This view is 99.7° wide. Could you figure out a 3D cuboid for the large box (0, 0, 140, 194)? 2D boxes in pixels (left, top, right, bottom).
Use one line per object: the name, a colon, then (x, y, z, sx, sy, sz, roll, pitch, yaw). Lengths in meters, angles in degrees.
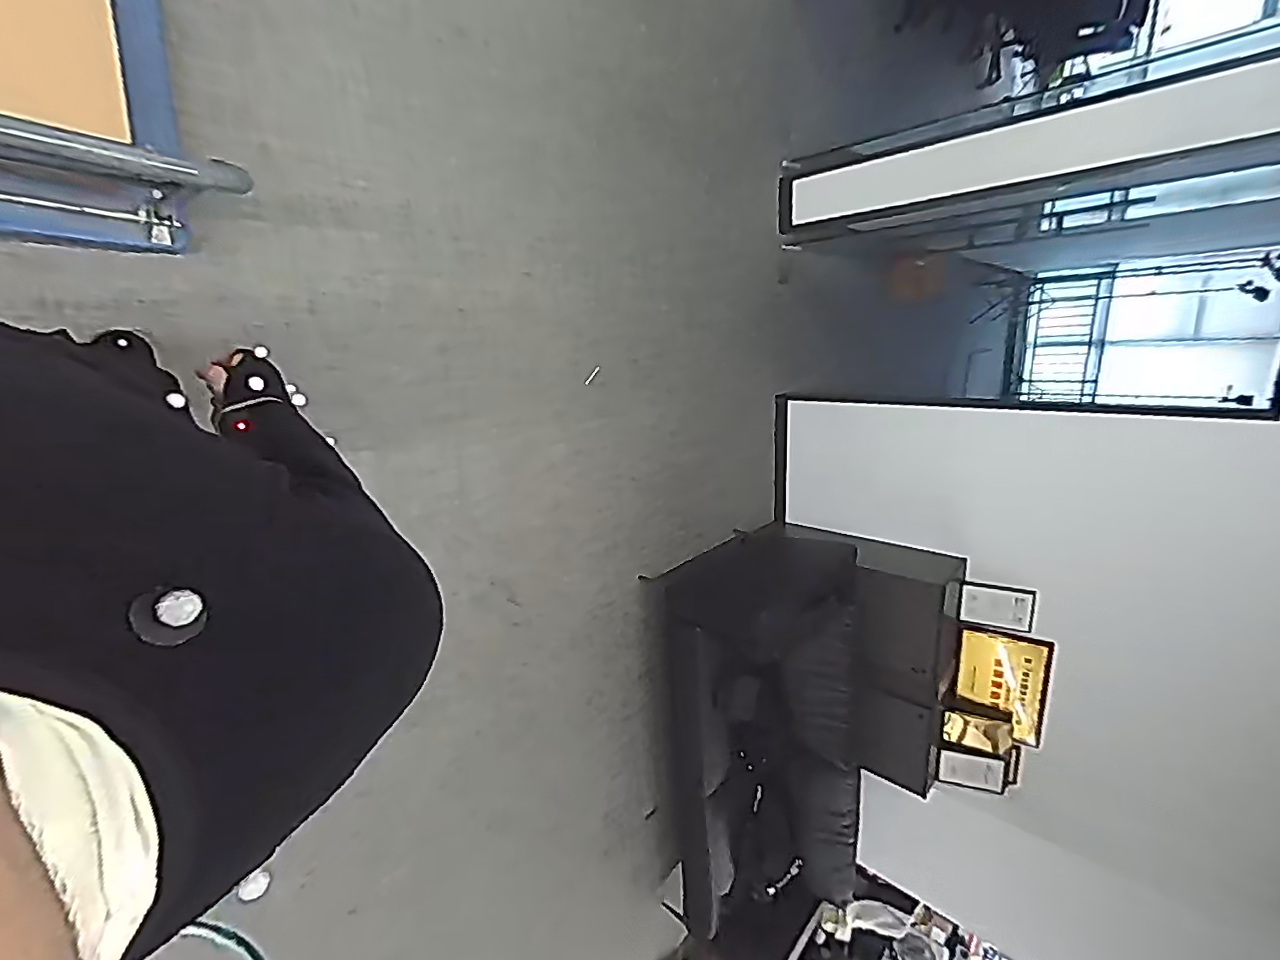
large box: (-0.987, -0.692, 0.787, 0.320, 0.320, 0.408, -12, 106, -47)
